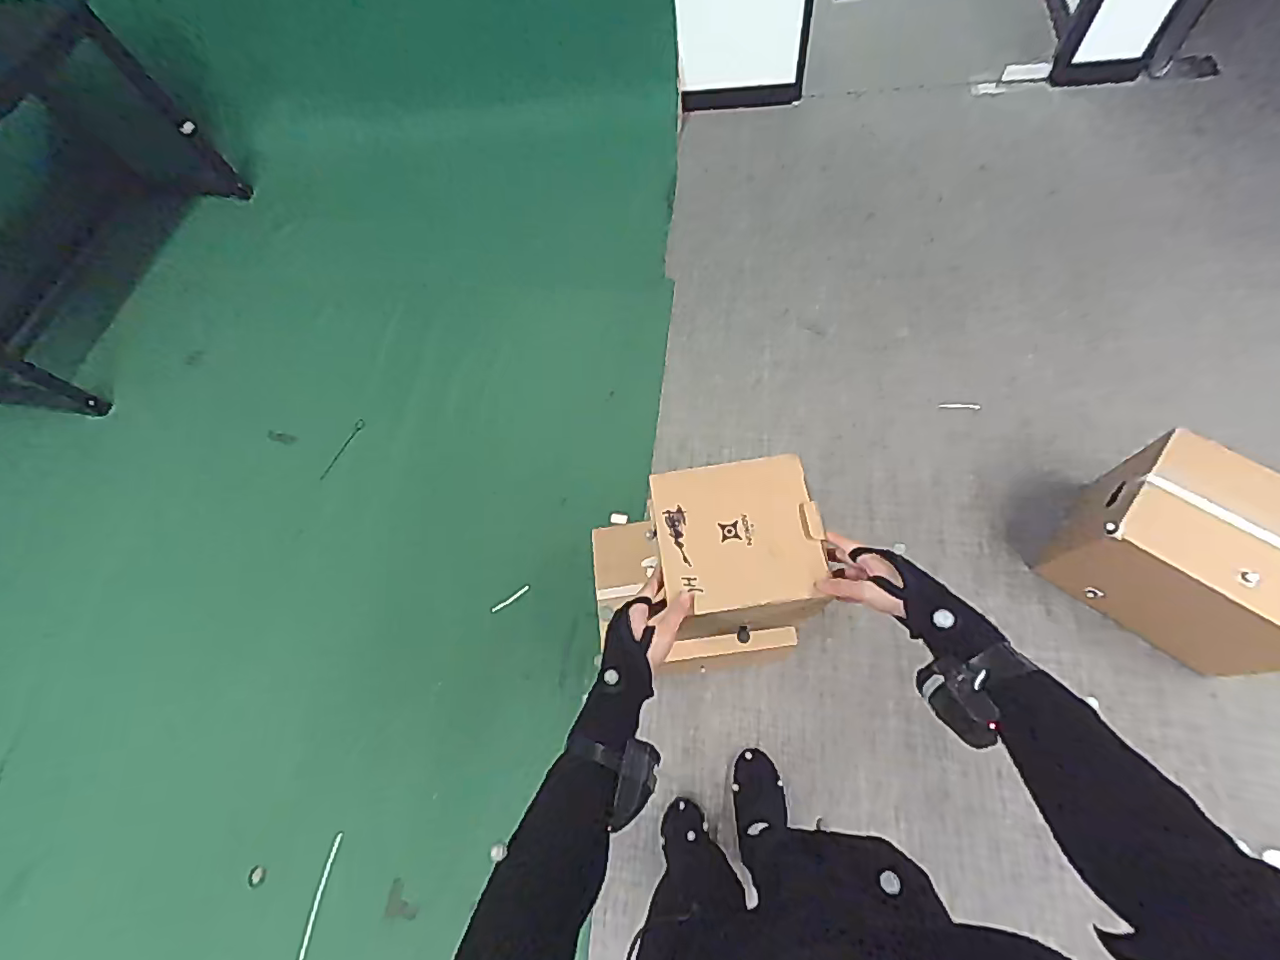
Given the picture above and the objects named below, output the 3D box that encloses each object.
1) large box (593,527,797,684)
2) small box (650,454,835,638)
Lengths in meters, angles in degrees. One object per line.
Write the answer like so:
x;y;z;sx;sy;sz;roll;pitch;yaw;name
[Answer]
0.127;0.292;1.292;0.408;0.320;0.320;-10;63;5;large box
0.109;0.087;0.653;0.179;0.176;0.168;-8;64;1;small box
